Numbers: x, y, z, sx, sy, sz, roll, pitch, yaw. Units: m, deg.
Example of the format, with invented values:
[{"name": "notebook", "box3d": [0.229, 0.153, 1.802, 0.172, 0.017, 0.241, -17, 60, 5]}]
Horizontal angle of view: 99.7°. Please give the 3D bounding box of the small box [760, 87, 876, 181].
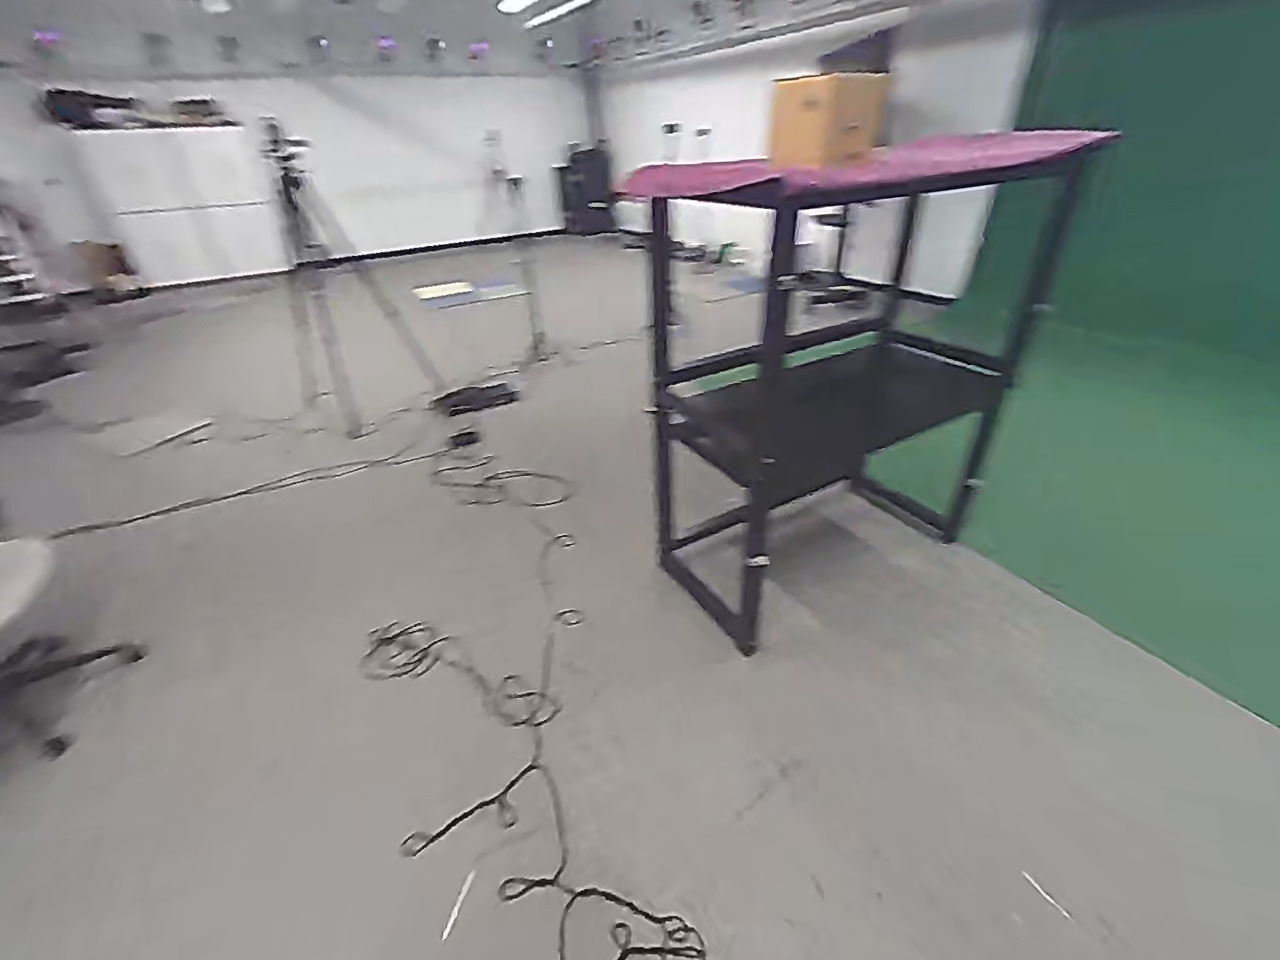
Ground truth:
[{"name": "small box", "box3d": [0.393, -0.775, 1.218, 0.168, 0.176, 0.179, -18, 36, -26]}]
